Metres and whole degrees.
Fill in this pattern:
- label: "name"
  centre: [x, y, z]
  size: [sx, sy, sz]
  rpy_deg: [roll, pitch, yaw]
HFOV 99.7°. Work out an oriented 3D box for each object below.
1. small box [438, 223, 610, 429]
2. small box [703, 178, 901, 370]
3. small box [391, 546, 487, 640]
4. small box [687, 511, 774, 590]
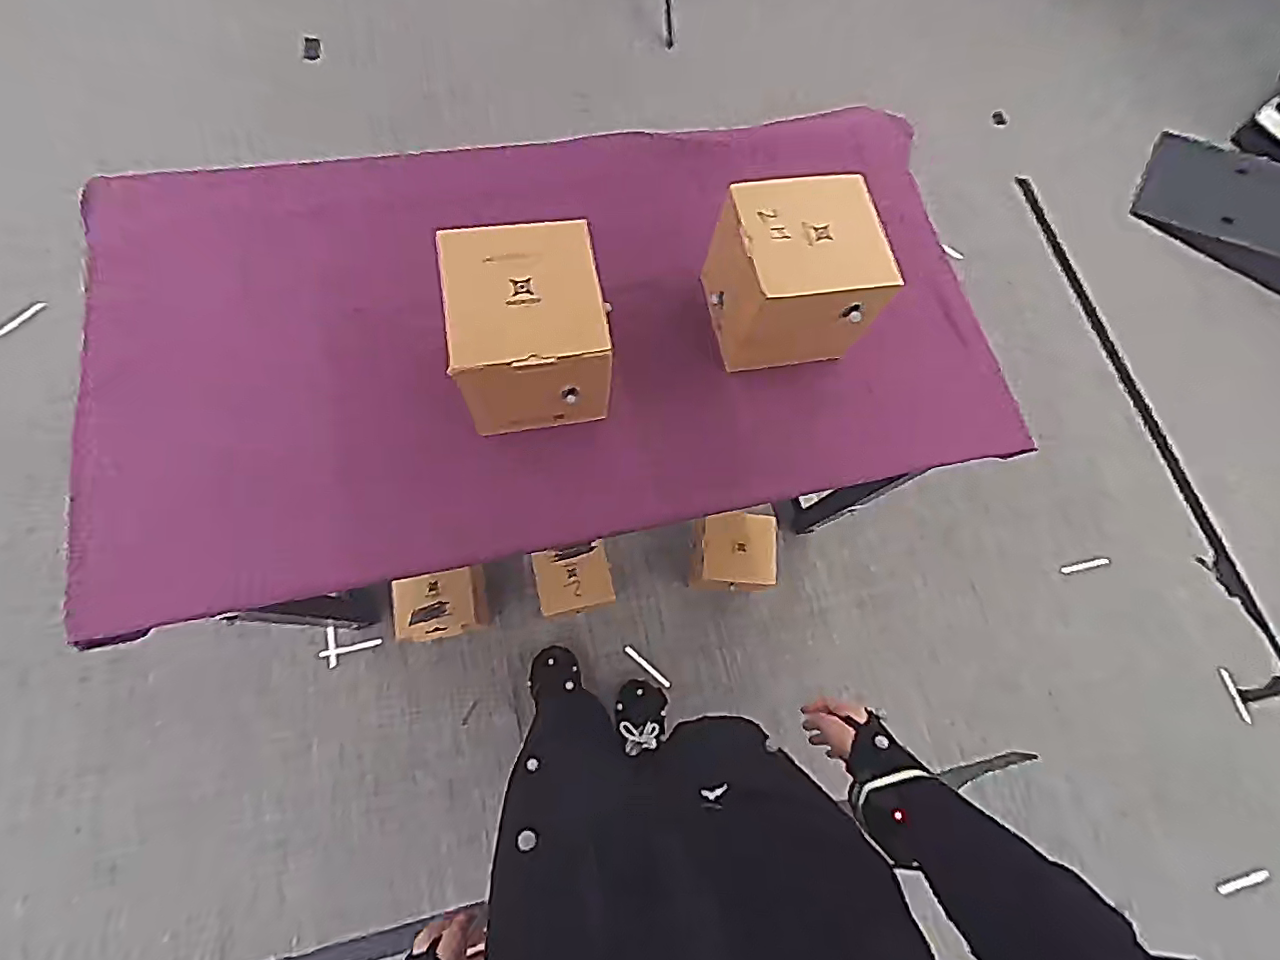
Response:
- label: "small box"
  centre: [-0.133, -0.172, 0.649]
  size: [0.168, 0.176, 0.179]
  rpy_deg: [-9, 72, -10]
- label: "small box"
  centre: [0.198, -0.262, 0.712]
  size: [0.179, 0.176, 0.168]
  rpy_deg: [-9, 73, -9]
- label: "small box"
  centre: [-0.456, 0.264, 1.243]
  size: [0.168, 0.176, 0.179]
  rpy_deg: [-10, 73, -9]
- label: "small box"
  centre: [0.222, 0.181, 1.347]
  size: [0.179, 0.176, 0.168]
  rpy_deg: [5, 73, -4]
